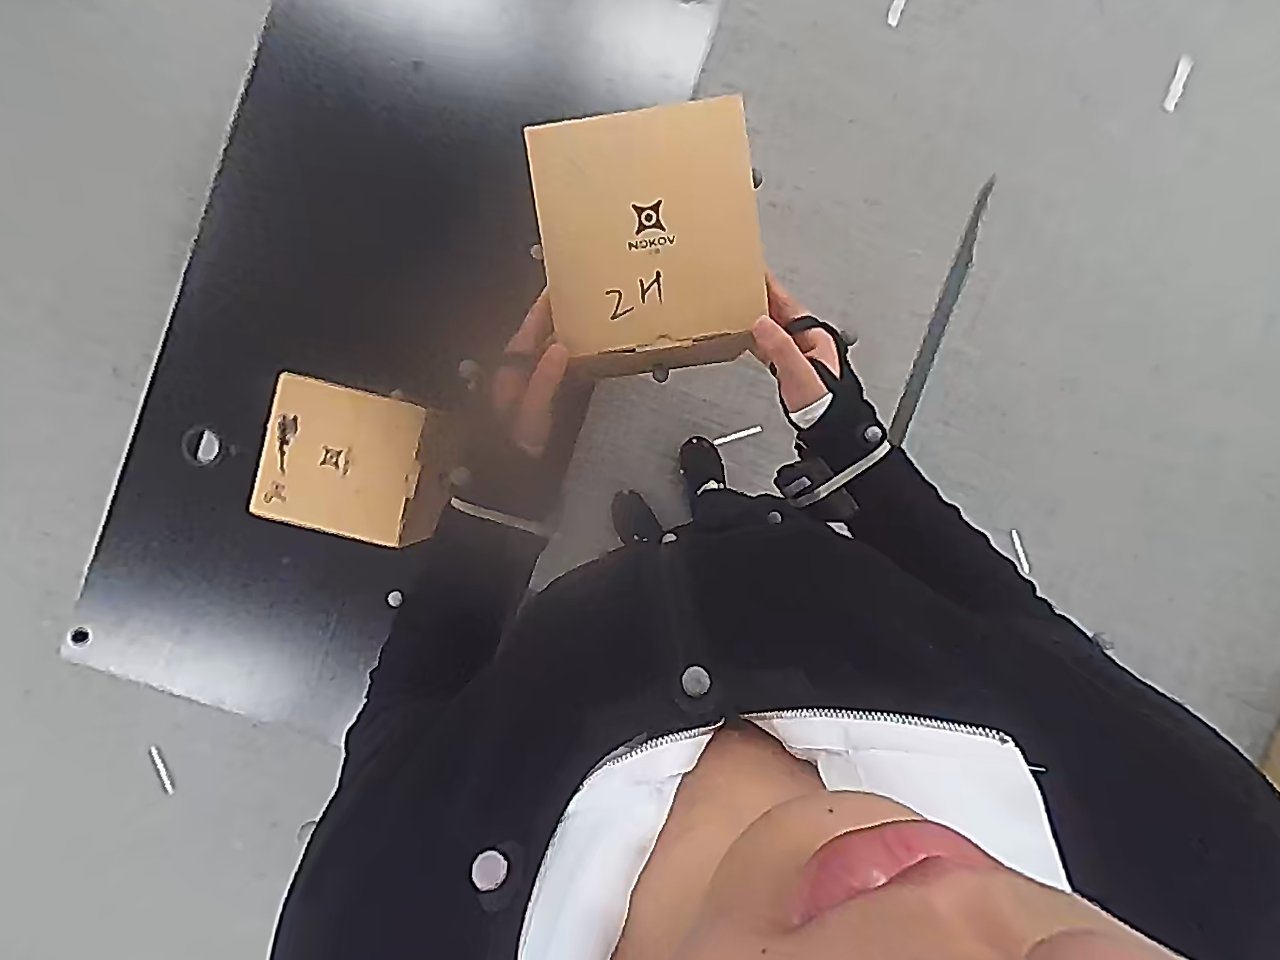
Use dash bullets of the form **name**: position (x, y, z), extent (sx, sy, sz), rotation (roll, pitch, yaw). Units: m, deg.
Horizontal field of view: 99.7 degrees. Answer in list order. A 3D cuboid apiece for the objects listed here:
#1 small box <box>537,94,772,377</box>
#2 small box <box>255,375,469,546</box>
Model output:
- **small box**: position (0.012, -0.199, 0.490), extent (0.168, 0.176, 0.179), rotation (-7, 94, 2)
- **small box**: position (-0.340, -0.024, 0.699), extent (0.179, 0.176, 0.168), rotation (14, 91, 0)
